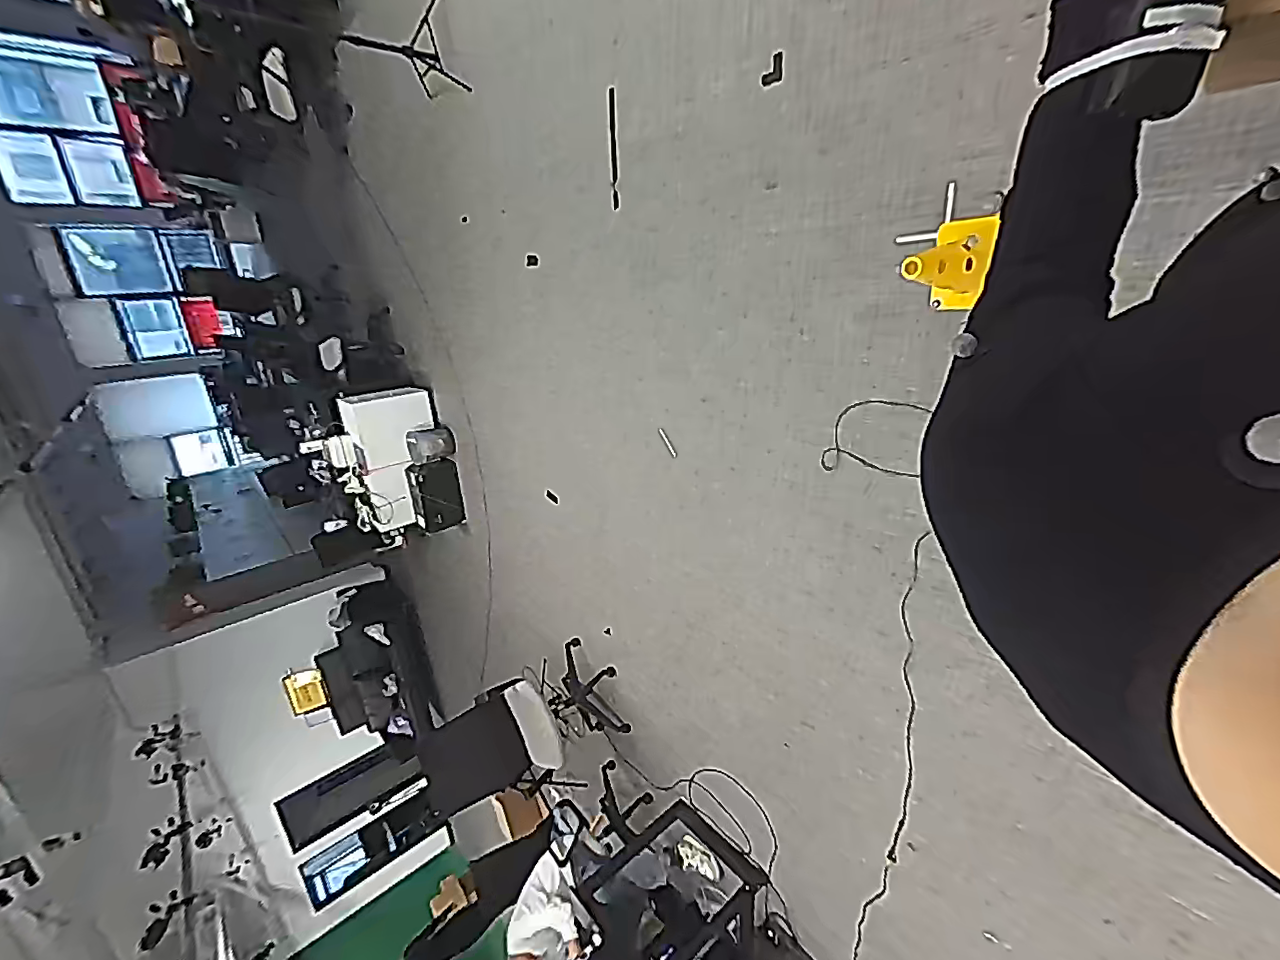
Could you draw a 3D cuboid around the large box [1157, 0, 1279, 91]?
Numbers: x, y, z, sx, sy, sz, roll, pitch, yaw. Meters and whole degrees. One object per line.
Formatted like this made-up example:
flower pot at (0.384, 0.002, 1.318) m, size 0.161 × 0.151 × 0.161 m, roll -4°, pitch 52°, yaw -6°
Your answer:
large box at (0.568, -0.446, 0.259) m, size 0.408 × 0.320 × 0.320 m, roll 17°, pitch 121°, yaw 45°
